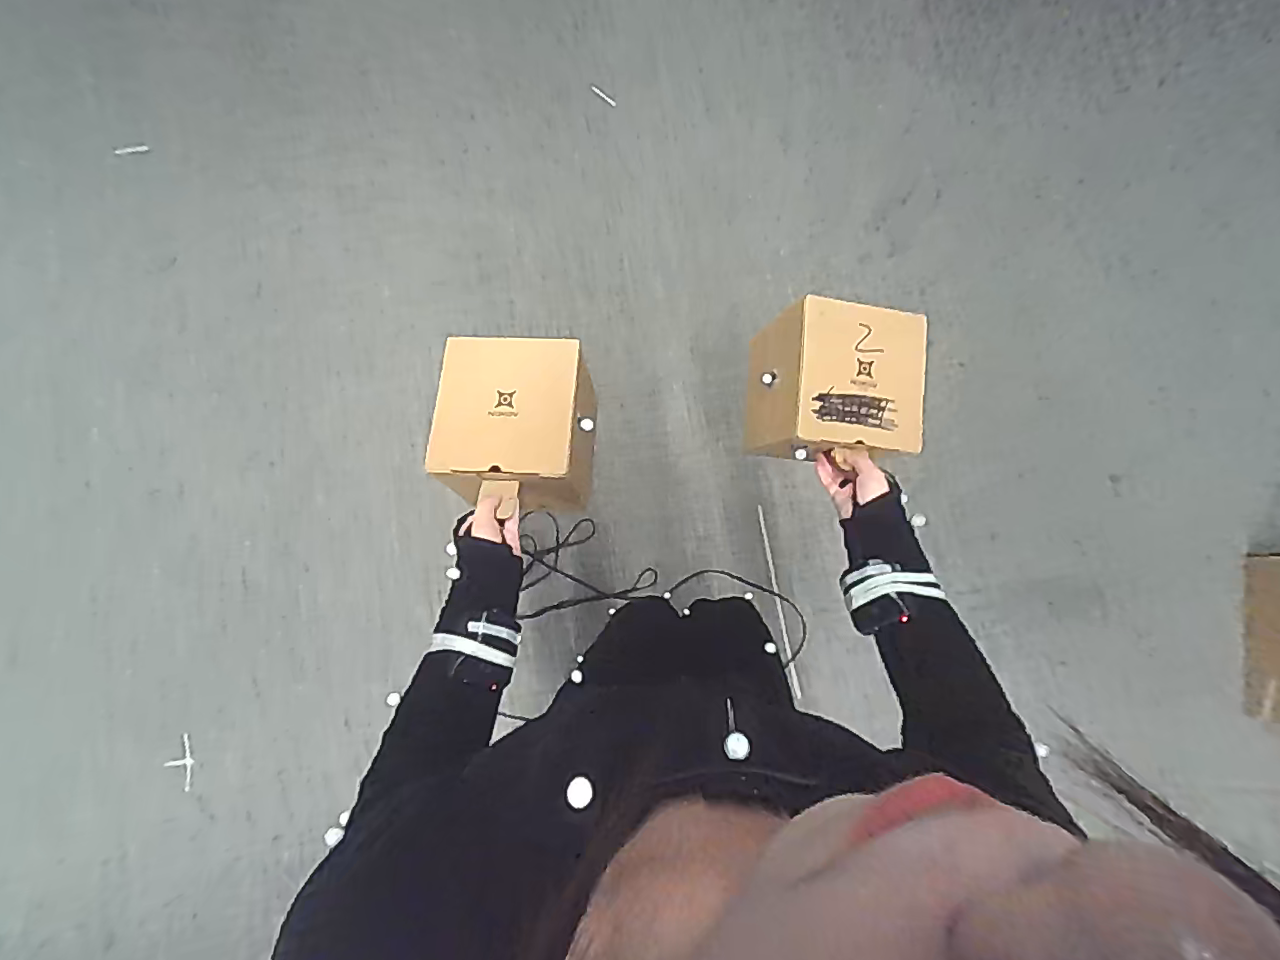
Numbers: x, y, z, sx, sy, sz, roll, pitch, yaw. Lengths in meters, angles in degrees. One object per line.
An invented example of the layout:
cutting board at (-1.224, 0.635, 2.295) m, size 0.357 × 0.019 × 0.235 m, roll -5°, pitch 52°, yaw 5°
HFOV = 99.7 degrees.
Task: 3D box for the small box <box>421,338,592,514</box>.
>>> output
small box at (-0.158, -0.063, 0.706) m, size 0.168 × 0.176 × 0.179 m, roll 3°, pitch 74°, yaw 4°
